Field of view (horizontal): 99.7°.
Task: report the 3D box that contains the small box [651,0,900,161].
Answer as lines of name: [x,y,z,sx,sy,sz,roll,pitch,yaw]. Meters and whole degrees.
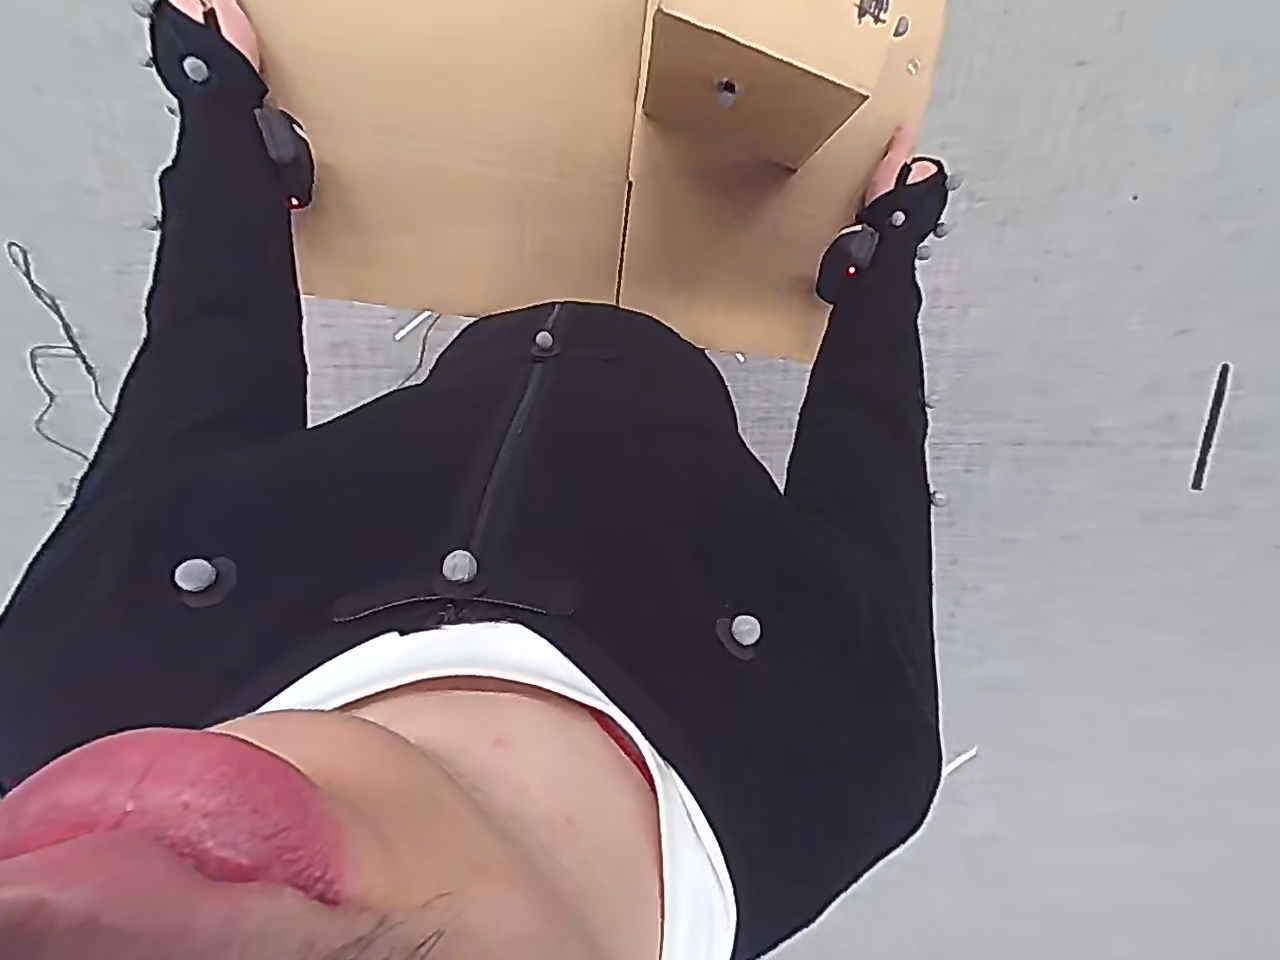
small box: [0.115,-0.414,0.474,0.179,0.176,0.168,17,101,-6]
